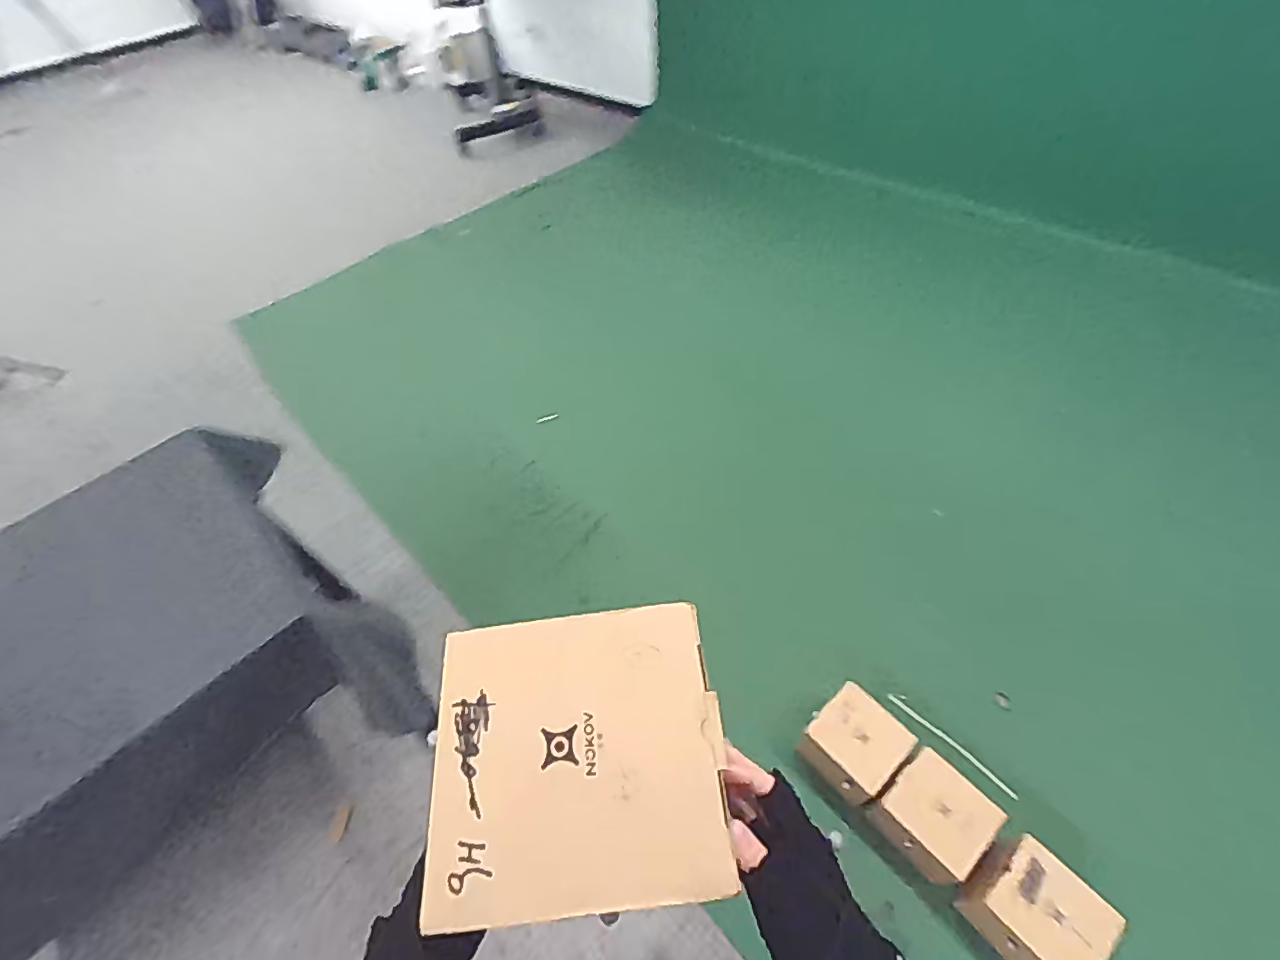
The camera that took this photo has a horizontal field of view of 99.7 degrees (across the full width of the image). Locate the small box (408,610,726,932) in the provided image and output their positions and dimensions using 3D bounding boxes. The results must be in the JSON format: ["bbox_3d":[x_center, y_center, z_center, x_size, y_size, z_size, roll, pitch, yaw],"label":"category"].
[{"bbox_3d":[-0.043,0.211,0.402,0.179,0.176,0.168,-7,56,-1],"label":"small box"}]
